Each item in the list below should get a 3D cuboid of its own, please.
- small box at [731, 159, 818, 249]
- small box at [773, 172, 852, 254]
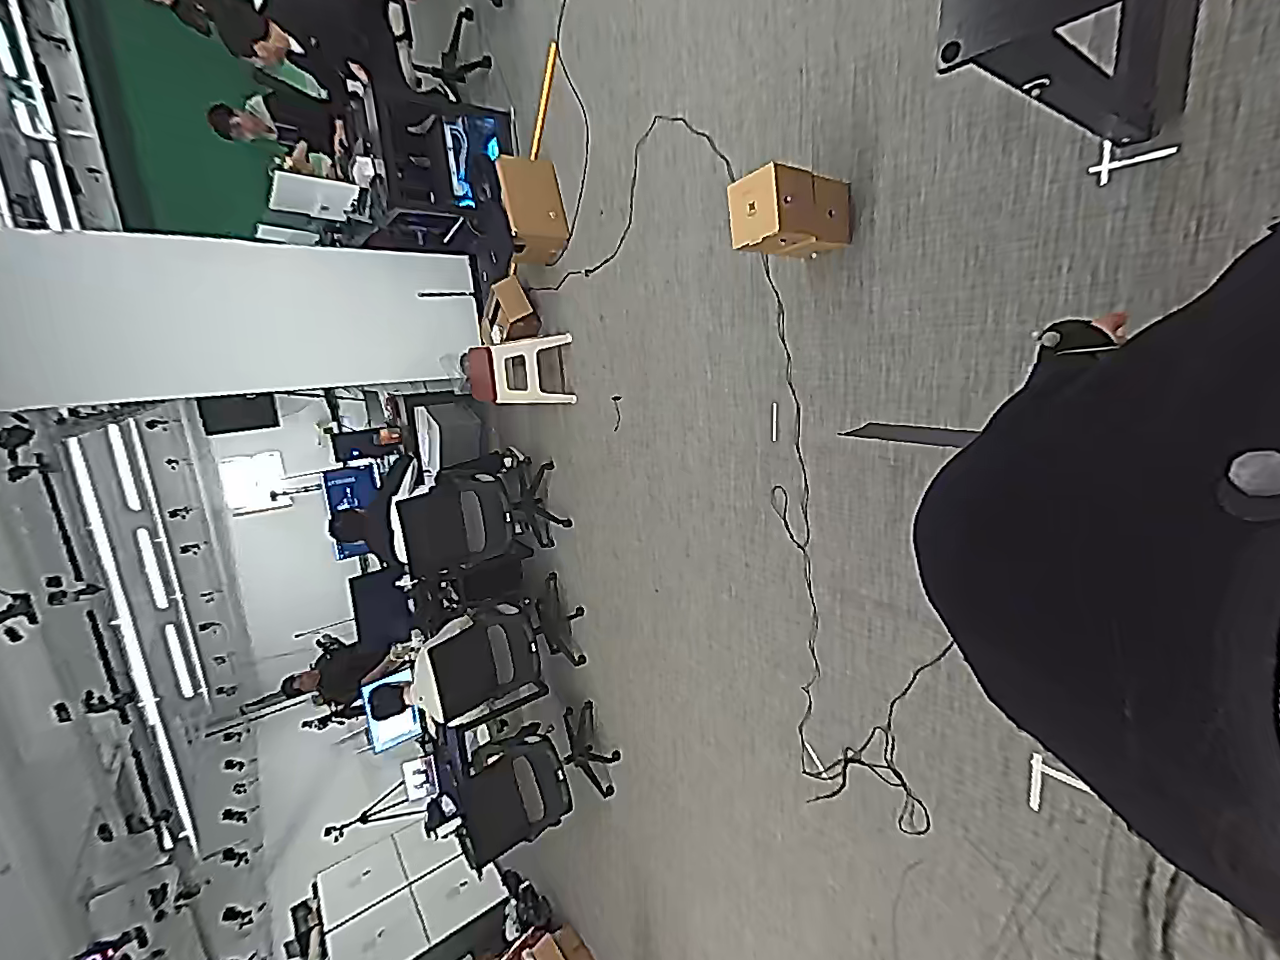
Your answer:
[{"bbox_3d":[0.375,-0.753,1.498,0.168,0.176,0.179,4,102,53],"label":"small box"},{"bbox_3d":[0.507,-0.776,1.591,0.168,0.176,0.179,10,109,53],"label":"small box"}]
